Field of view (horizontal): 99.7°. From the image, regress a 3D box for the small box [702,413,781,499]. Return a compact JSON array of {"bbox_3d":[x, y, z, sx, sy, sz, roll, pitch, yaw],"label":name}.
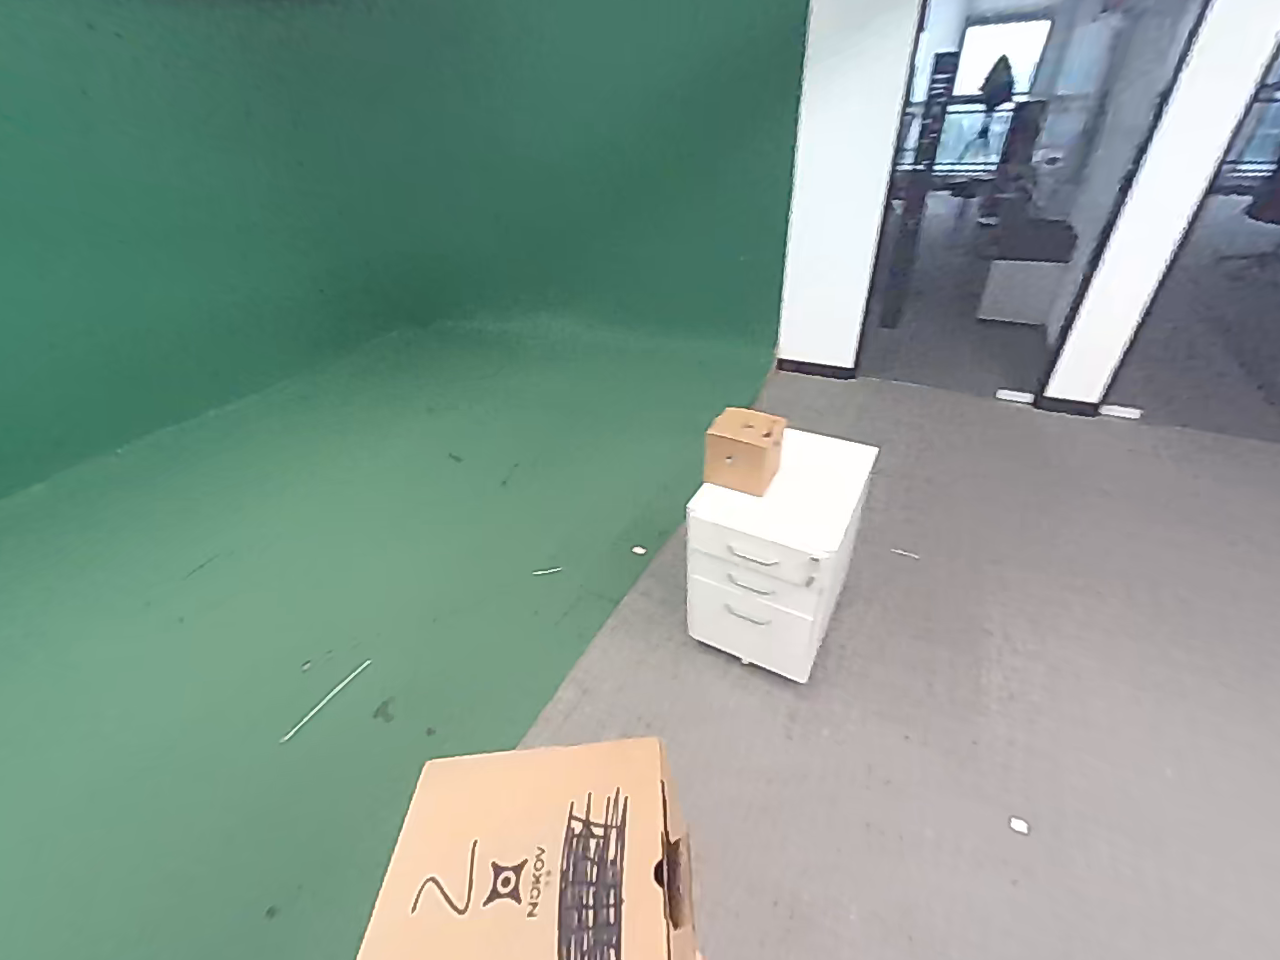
[{"bbox_3d":[0.283,-0.067,1.530,0.179,0.176,0.168,16,40,24],"label":"small box"}]
